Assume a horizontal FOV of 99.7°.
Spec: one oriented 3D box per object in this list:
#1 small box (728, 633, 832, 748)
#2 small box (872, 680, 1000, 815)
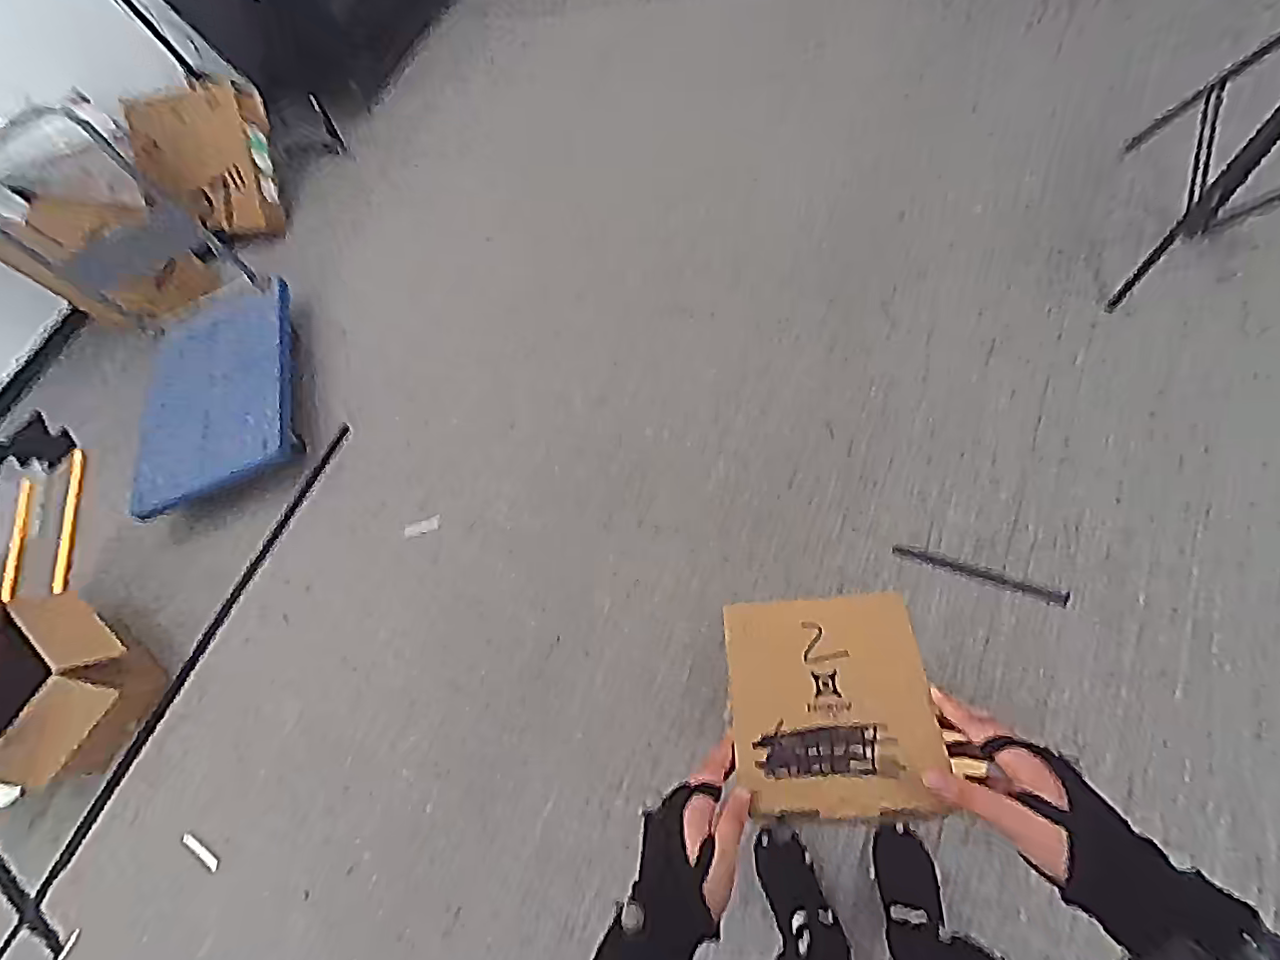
[{"bbox_3d":[0.307,0.462,1.188,0.168,0.176,0.179,19,73,23],"label":"small box"},{"bbox_3d":[0.578,0.525,1.079,0.168,0.176,0.179,22,74,23],"label":"small box"}]
